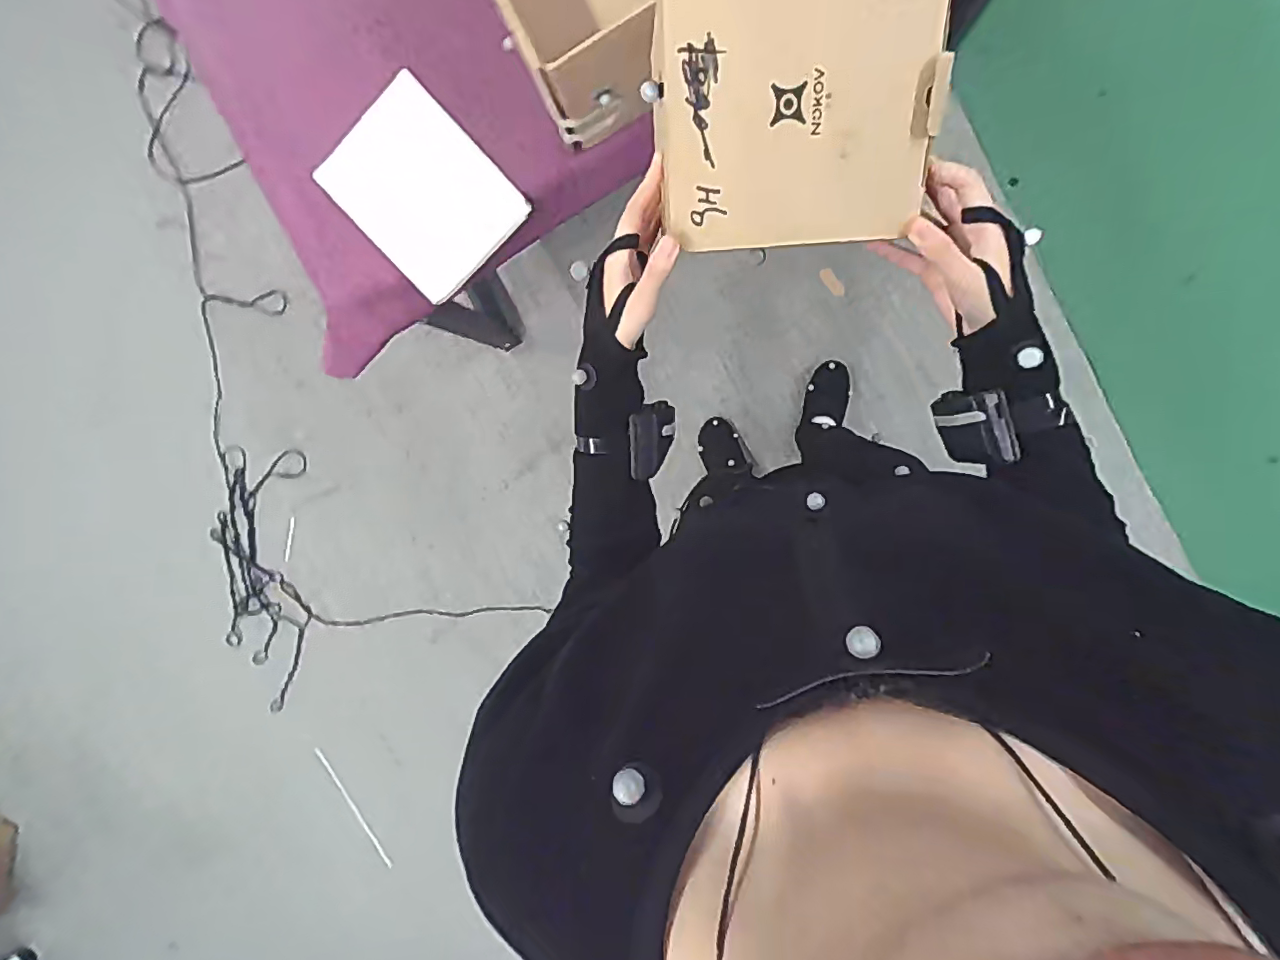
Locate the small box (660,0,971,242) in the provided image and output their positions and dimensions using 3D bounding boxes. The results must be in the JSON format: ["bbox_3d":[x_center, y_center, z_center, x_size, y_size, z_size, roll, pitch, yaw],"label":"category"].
[{"bbox_3d":[0.109,-0.273,0.410,0.179,0.176,0.168,-2,113,0],"label":"small box"}]
